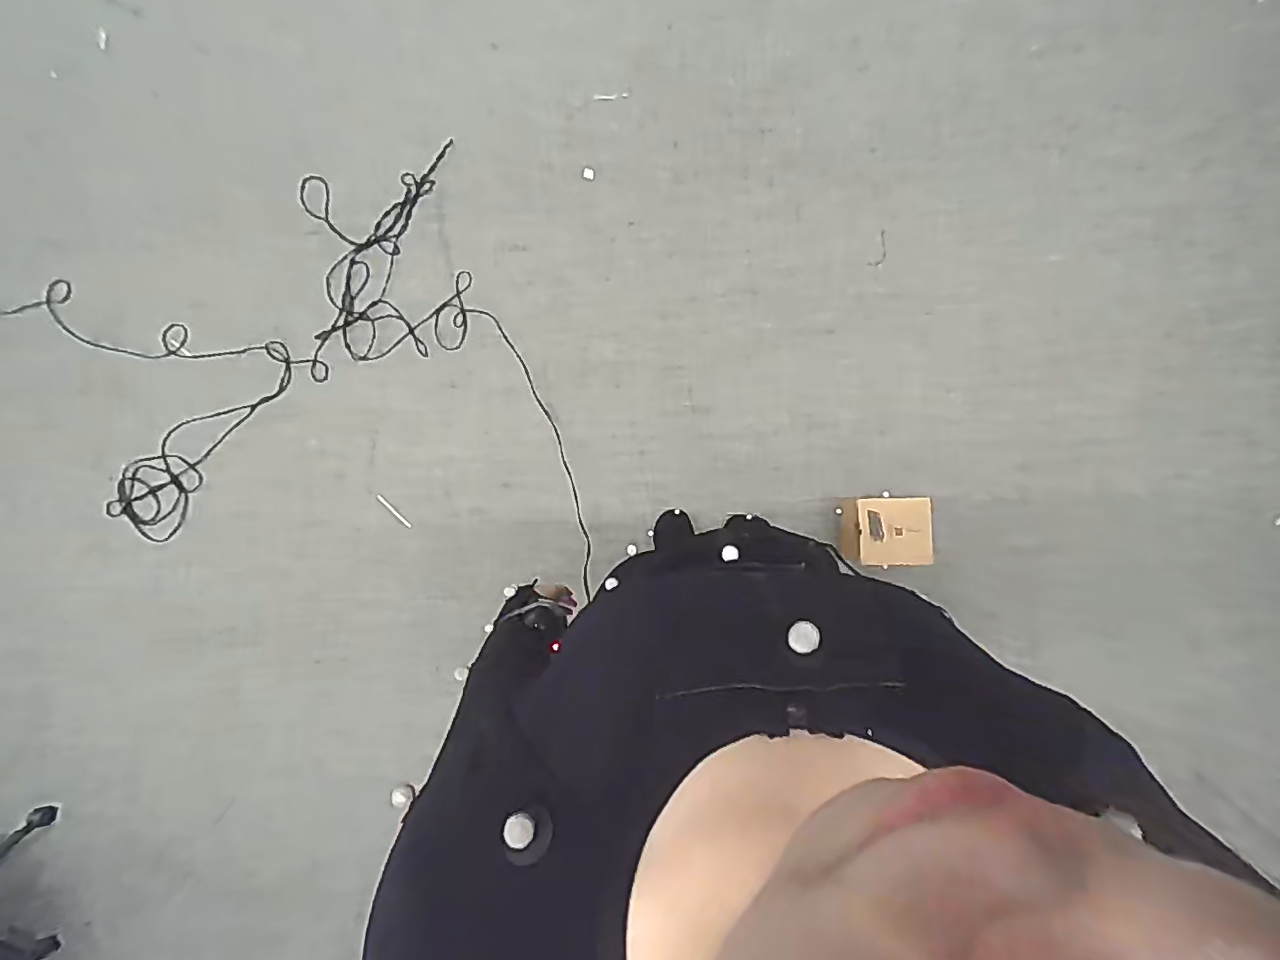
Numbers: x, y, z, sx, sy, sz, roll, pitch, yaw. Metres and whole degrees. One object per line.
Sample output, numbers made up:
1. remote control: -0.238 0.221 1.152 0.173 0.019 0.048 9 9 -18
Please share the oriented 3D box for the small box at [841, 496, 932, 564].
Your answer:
1. small box: 0.625 0.127 1.393 0.179 0.176 0.168 -1 87 4
